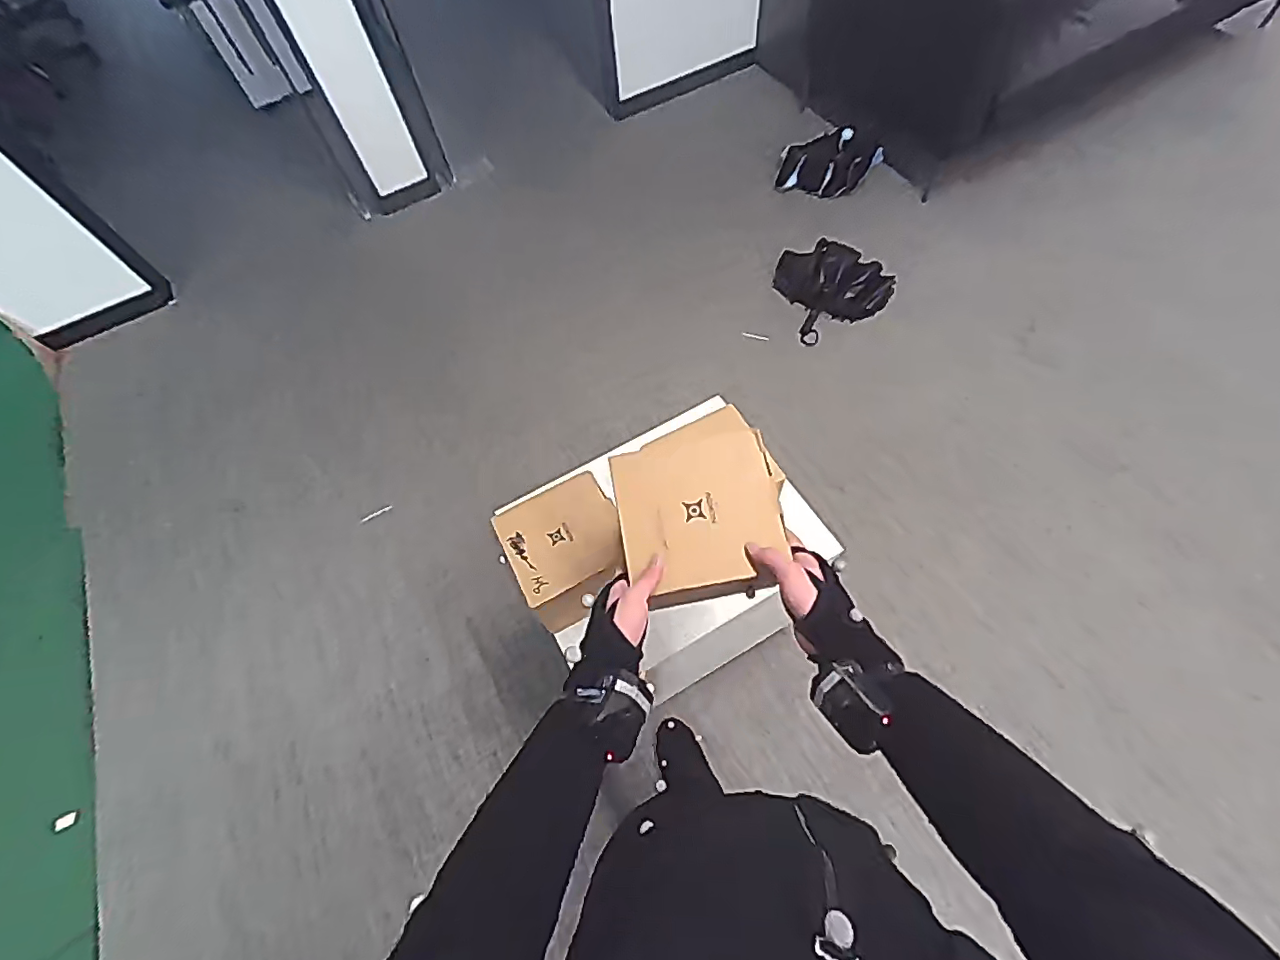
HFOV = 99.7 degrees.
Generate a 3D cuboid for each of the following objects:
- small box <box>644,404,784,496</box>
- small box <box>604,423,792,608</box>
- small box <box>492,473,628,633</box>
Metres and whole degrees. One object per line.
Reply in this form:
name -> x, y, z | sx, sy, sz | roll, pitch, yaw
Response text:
small box -> 0.118, 0.009, 0.922 | 0.179, 0.176, 0.168 | -26, 63, -9
small box -> 0.066, 0.053, 0.659 | 0.179, 0.176, 0.168 | -13, 70, 3
small box -> -0.112, 0.123, 0.881 | 0.179, 0.176, 0.168 | -27, 63, -11
